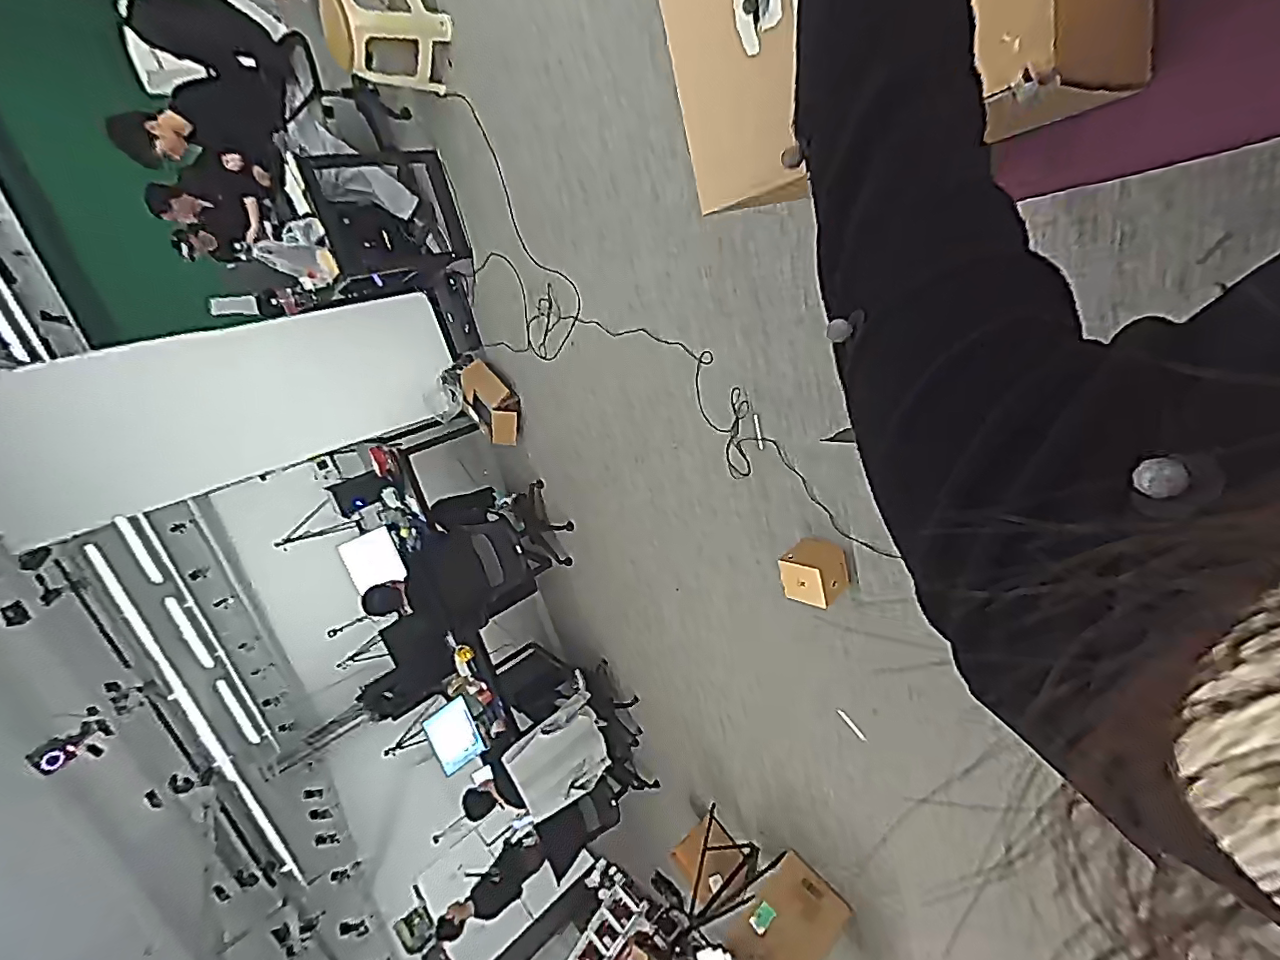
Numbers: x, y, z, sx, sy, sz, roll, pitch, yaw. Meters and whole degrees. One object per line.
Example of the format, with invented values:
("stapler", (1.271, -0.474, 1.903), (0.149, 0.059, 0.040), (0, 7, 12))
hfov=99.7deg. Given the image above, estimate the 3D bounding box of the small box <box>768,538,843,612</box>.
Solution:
("small box", (0.596, 0.345, 1.974), (0.179, 0.176, 0.168), (54, 170, -22))
